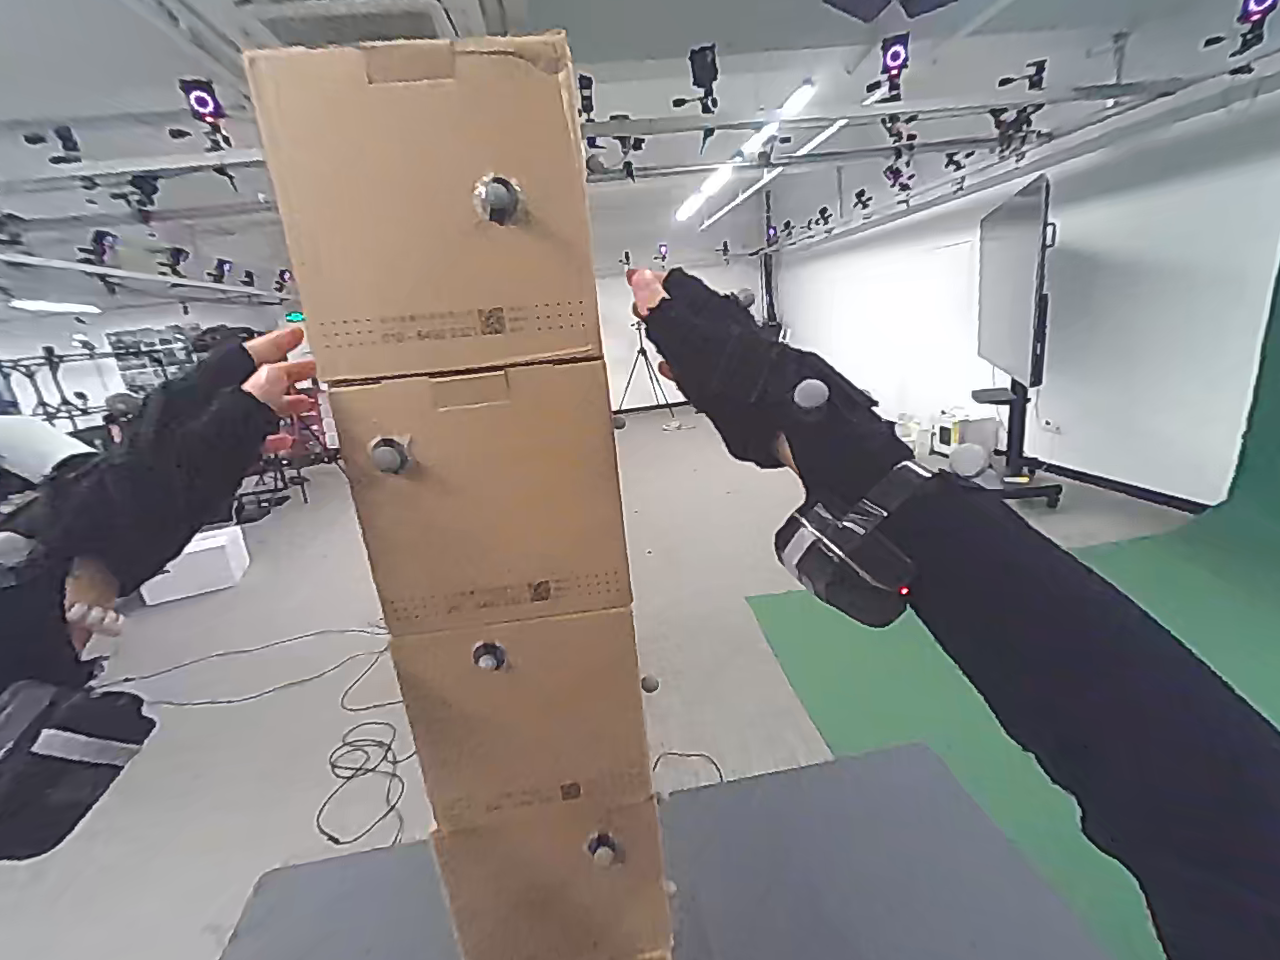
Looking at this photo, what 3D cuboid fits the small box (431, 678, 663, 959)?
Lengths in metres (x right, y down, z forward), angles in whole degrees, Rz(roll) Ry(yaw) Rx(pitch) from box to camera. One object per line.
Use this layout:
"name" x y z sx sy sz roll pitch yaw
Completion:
"small box" -0.074 0.311 0.517 0.179 0.176 0.168 -8 16 -4

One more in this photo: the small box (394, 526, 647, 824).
"small box" -0.087 0.154 0.473 0.168 0.176 0.179 -7 16 -3

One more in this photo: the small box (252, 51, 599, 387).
"small box" -0.119 -0.161 0.385 0.168 0.176 0.179 -6 16 -2
